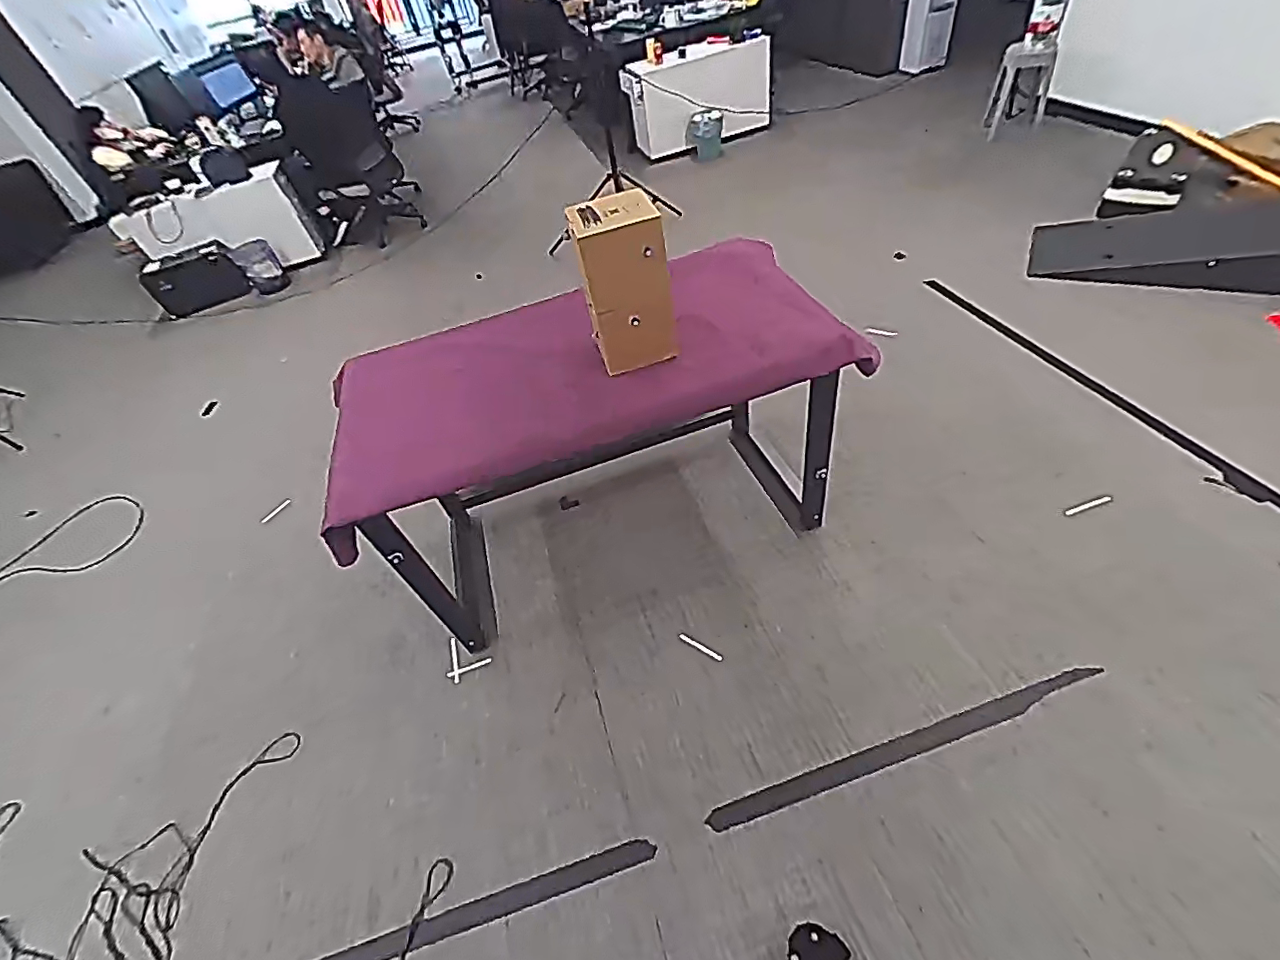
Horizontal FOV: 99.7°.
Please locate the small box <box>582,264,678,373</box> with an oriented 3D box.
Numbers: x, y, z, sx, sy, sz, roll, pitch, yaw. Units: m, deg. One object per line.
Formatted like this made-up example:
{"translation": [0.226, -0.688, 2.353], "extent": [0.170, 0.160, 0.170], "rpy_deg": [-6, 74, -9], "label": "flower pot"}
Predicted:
{"translation": [-0.021, -0.379, 1.279], "extent": [0.179, 0.176, 0.168], "rpy_deg": [-17, 48, -4], "label": "small box"}
